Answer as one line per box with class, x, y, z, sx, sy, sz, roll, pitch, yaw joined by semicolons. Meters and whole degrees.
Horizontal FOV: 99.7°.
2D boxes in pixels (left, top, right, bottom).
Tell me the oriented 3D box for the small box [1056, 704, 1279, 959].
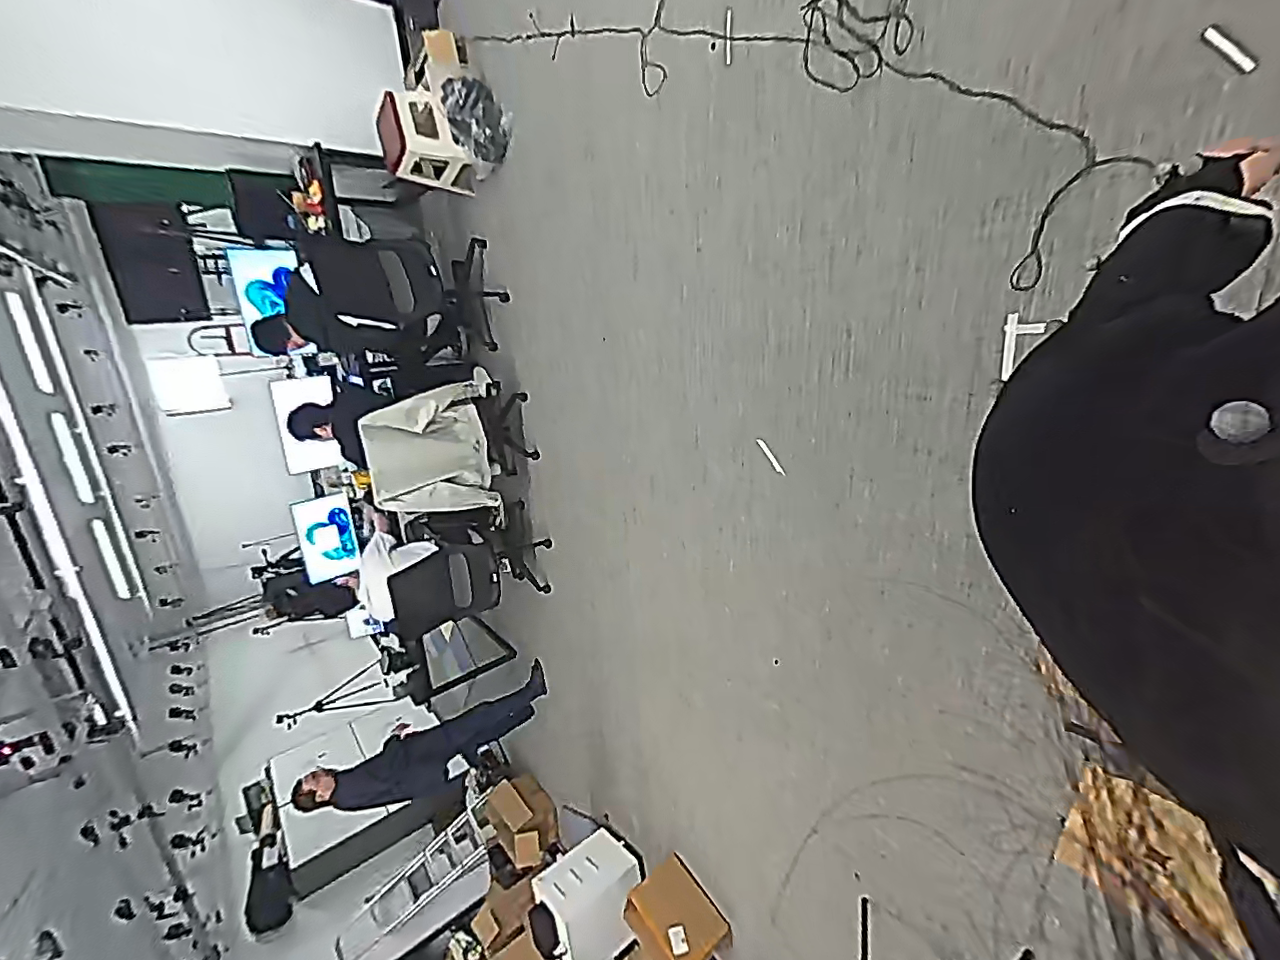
small box;0.654;0.417;0.666;0.168;0.176;0.179;22;121;46
